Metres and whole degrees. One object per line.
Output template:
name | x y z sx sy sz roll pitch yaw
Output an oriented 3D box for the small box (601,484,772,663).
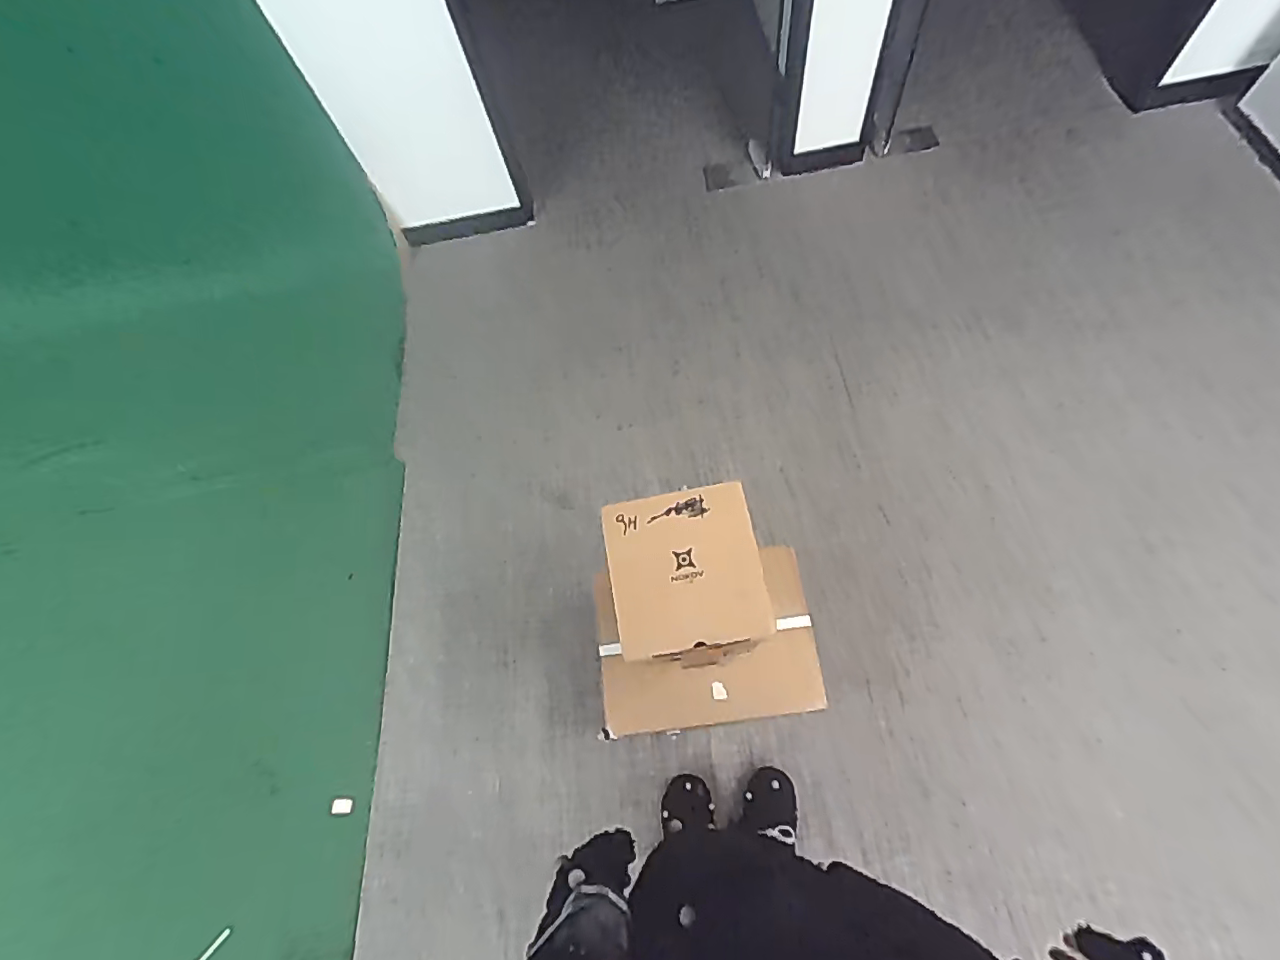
small box | 0.056 0.122 0.669 0.168 0.176 0.179 -11 71 2
